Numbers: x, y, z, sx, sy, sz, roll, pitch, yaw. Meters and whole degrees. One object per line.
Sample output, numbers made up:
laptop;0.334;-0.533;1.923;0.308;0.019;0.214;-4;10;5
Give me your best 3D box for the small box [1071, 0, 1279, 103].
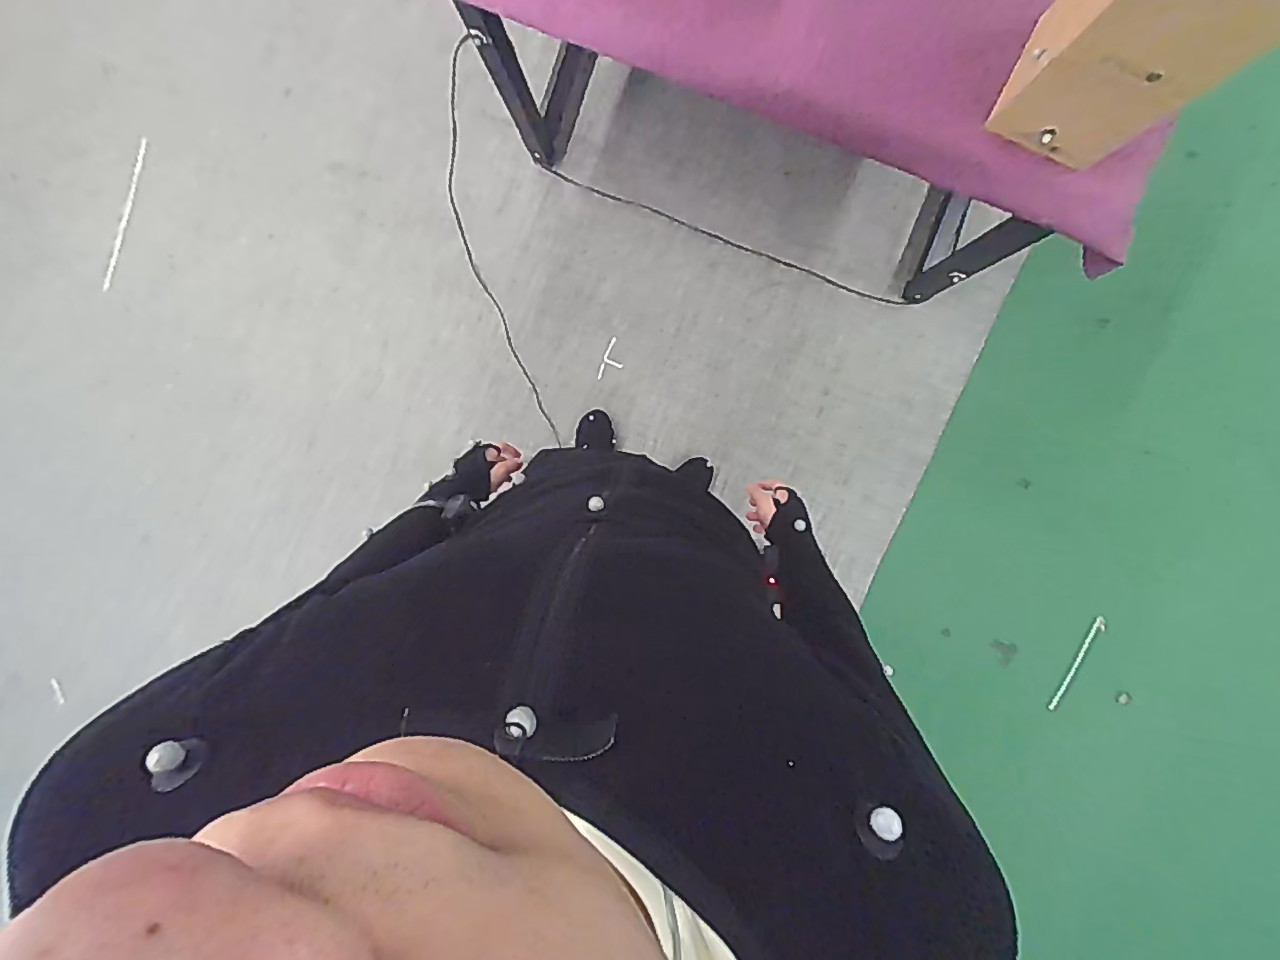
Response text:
small box;0.617;-0.559;0.570;0.168;0.176;0.179;26;95;2
